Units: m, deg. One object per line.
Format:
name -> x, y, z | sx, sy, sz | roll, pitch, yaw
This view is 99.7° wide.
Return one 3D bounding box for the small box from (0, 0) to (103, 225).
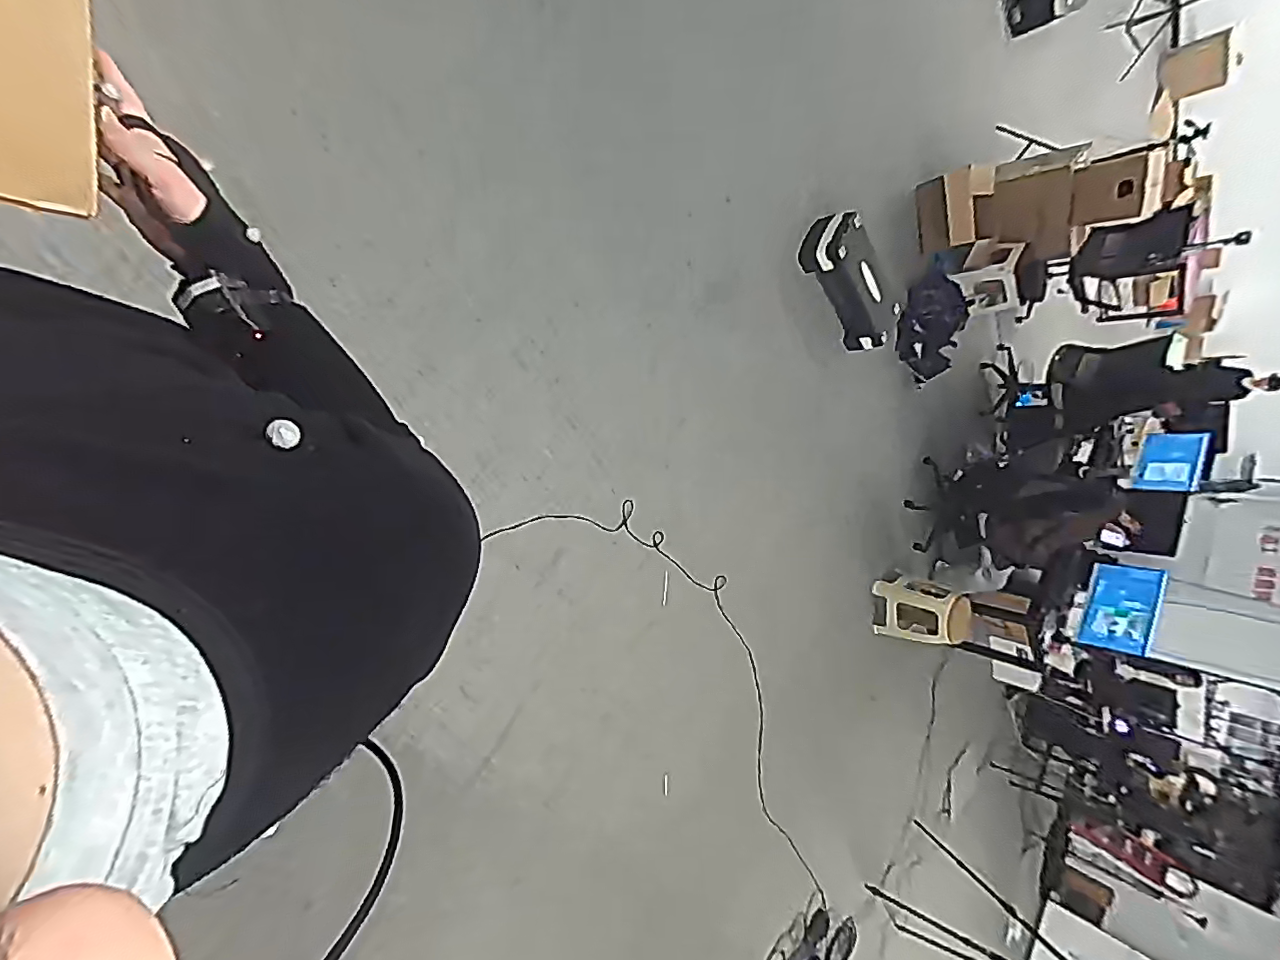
small box -> -0.454, -0.291, 0.338 | 0.168, 0.176, 0.179 | -5, 125, -45
